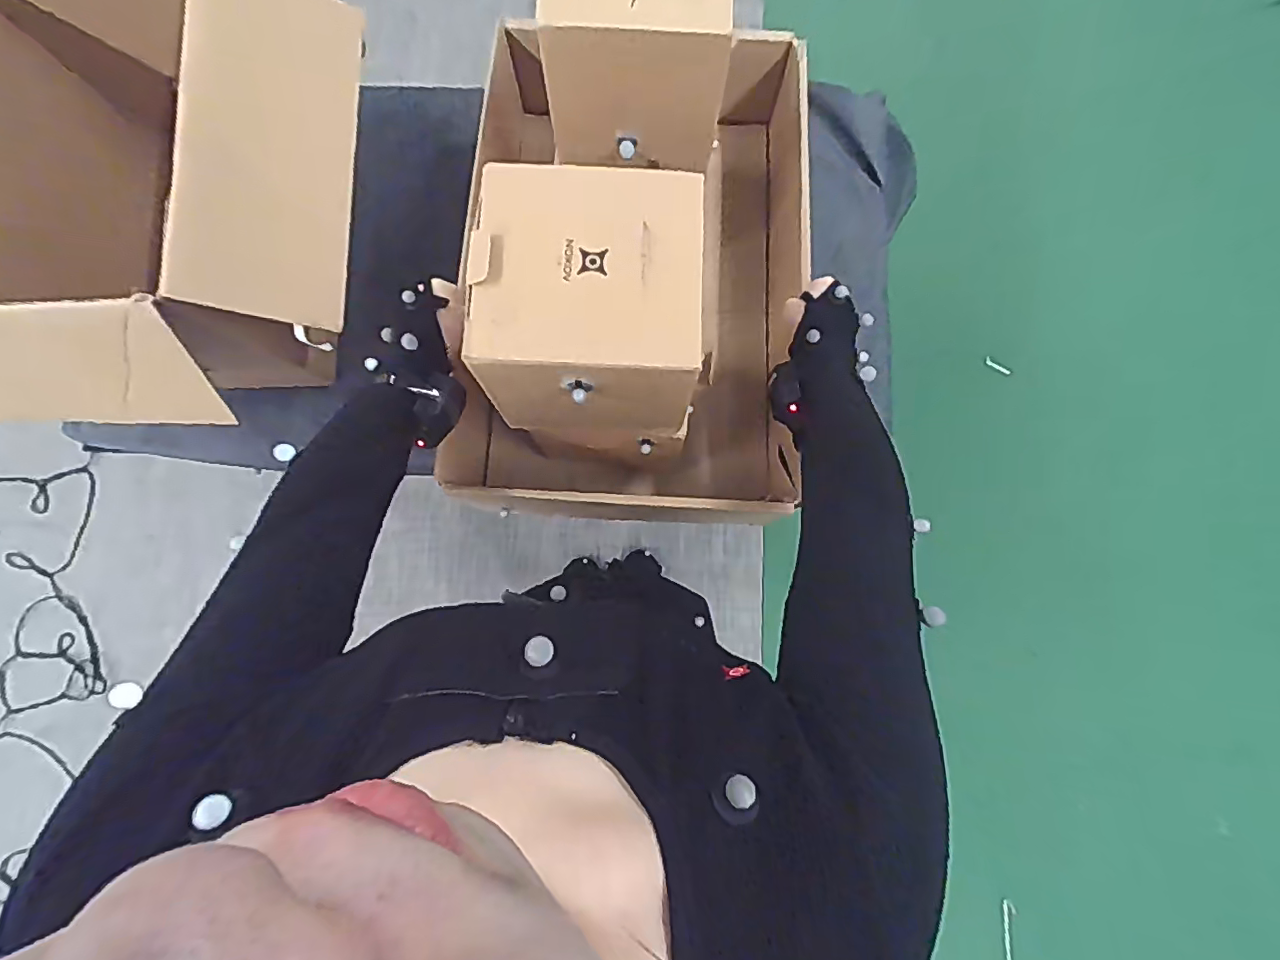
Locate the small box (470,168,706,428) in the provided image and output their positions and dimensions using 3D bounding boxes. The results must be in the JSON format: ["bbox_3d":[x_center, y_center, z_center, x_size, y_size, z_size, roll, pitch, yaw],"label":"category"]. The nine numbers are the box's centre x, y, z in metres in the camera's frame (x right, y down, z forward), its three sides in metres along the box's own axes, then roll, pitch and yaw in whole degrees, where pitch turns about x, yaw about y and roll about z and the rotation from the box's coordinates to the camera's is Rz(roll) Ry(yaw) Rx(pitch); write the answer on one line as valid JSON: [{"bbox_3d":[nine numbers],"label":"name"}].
[{"bbox_3d":[-0.038,-0.149,0.492,0.179,0.176,0.168,2,80,-1],"label":"small box"}]

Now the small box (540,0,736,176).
[{"bbox_3d":[0.000,-0.440,0.542,0.168,0.176,0.179,3,80,0],"label":"small box"}]
